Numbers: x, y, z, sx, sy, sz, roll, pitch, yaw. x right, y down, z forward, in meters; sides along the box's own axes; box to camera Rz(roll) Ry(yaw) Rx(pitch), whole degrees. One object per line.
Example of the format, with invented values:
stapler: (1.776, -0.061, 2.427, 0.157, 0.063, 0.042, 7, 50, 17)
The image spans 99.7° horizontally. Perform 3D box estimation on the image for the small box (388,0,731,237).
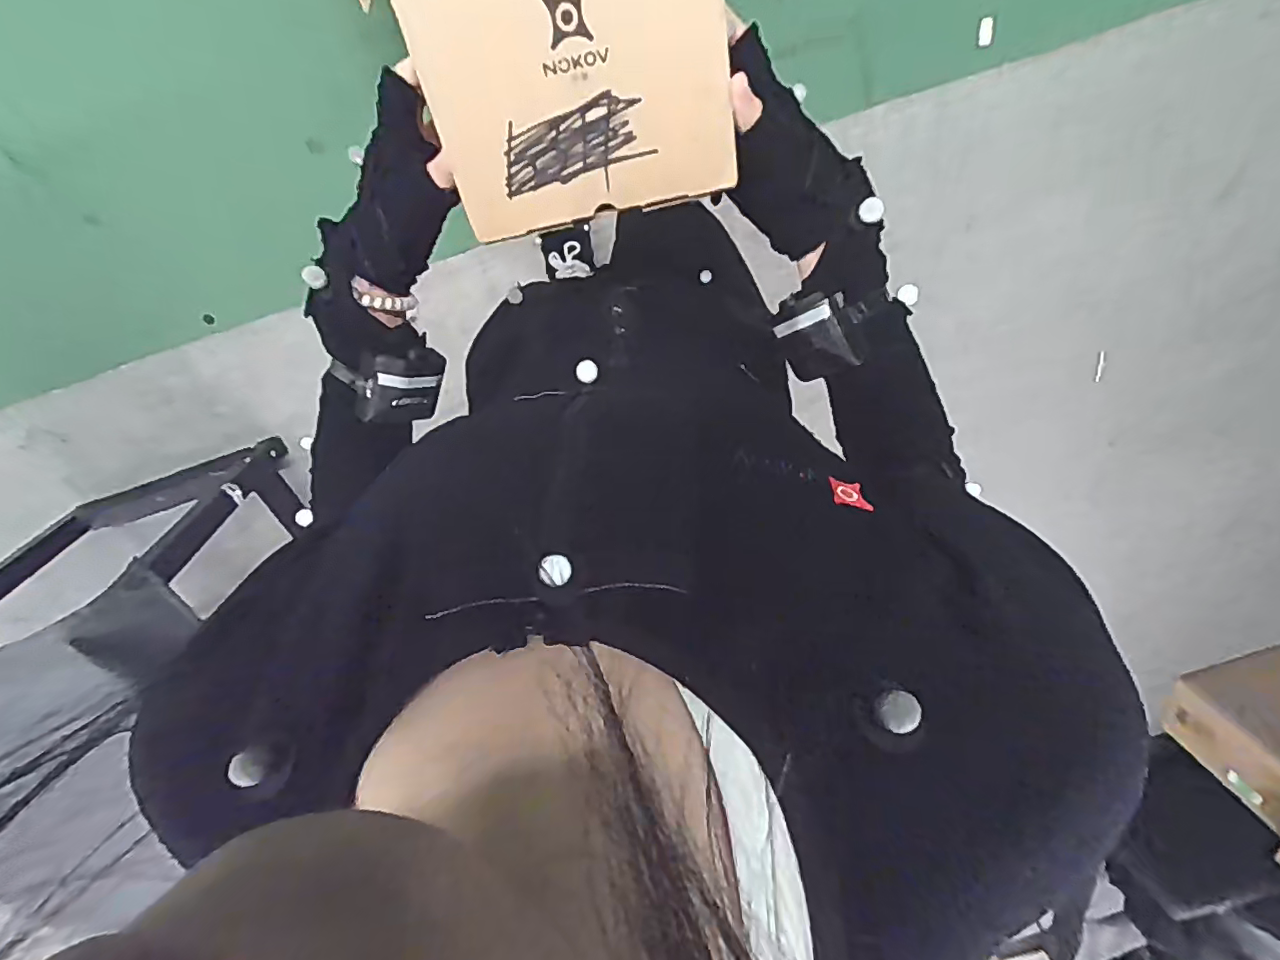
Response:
small box: (-0.045, -0.280, 0.339, 0.168, 0.176, 0.179, -12, 128, 3)
